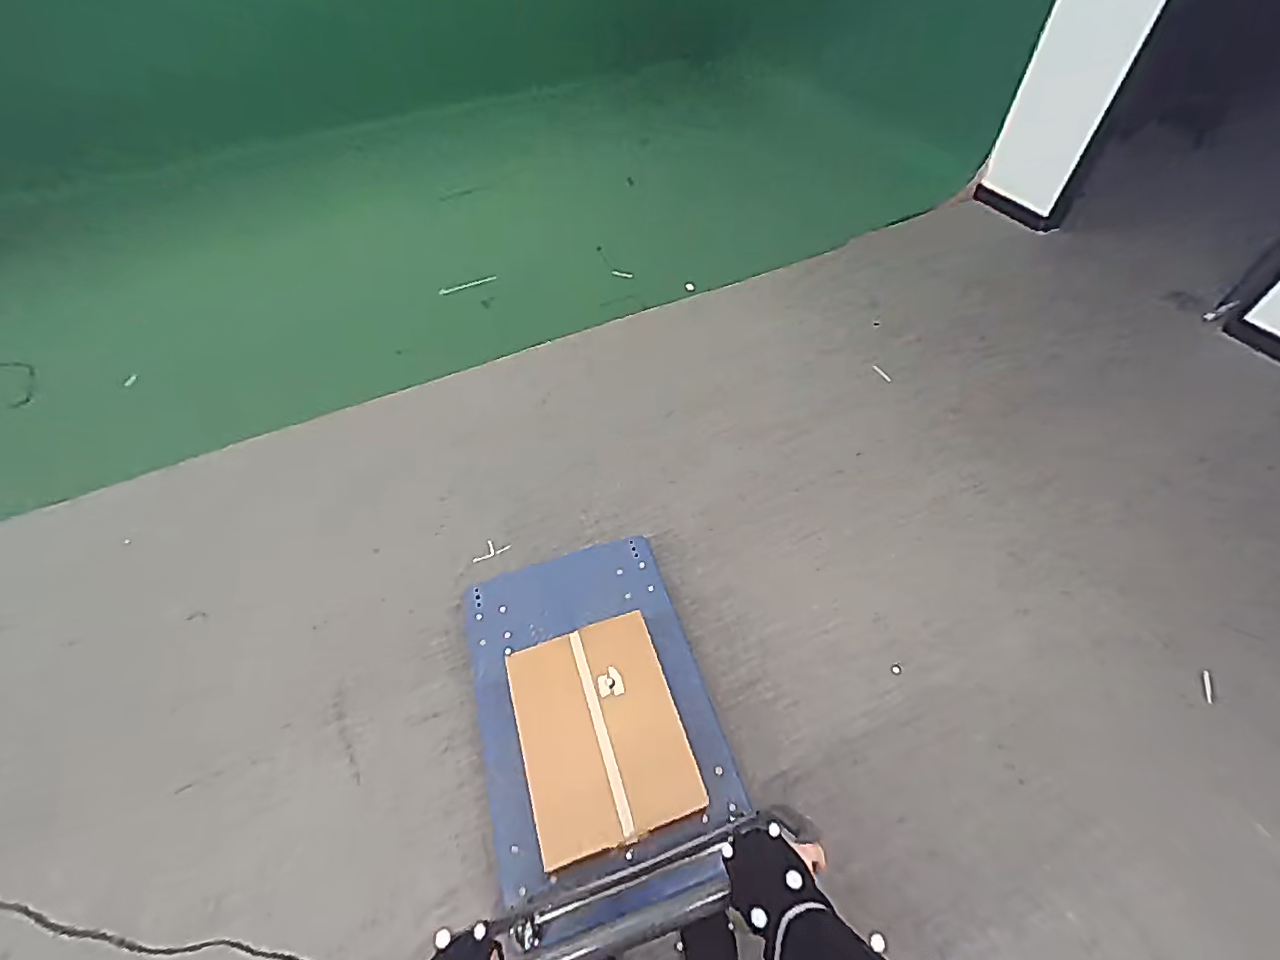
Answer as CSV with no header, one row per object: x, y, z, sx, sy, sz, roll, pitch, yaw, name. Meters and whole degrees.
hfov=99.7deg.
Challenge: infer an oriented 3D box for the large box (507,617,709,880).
-0.070,0.586,1.190,0.320,0.320,0.408,-16,52,-9,large box
